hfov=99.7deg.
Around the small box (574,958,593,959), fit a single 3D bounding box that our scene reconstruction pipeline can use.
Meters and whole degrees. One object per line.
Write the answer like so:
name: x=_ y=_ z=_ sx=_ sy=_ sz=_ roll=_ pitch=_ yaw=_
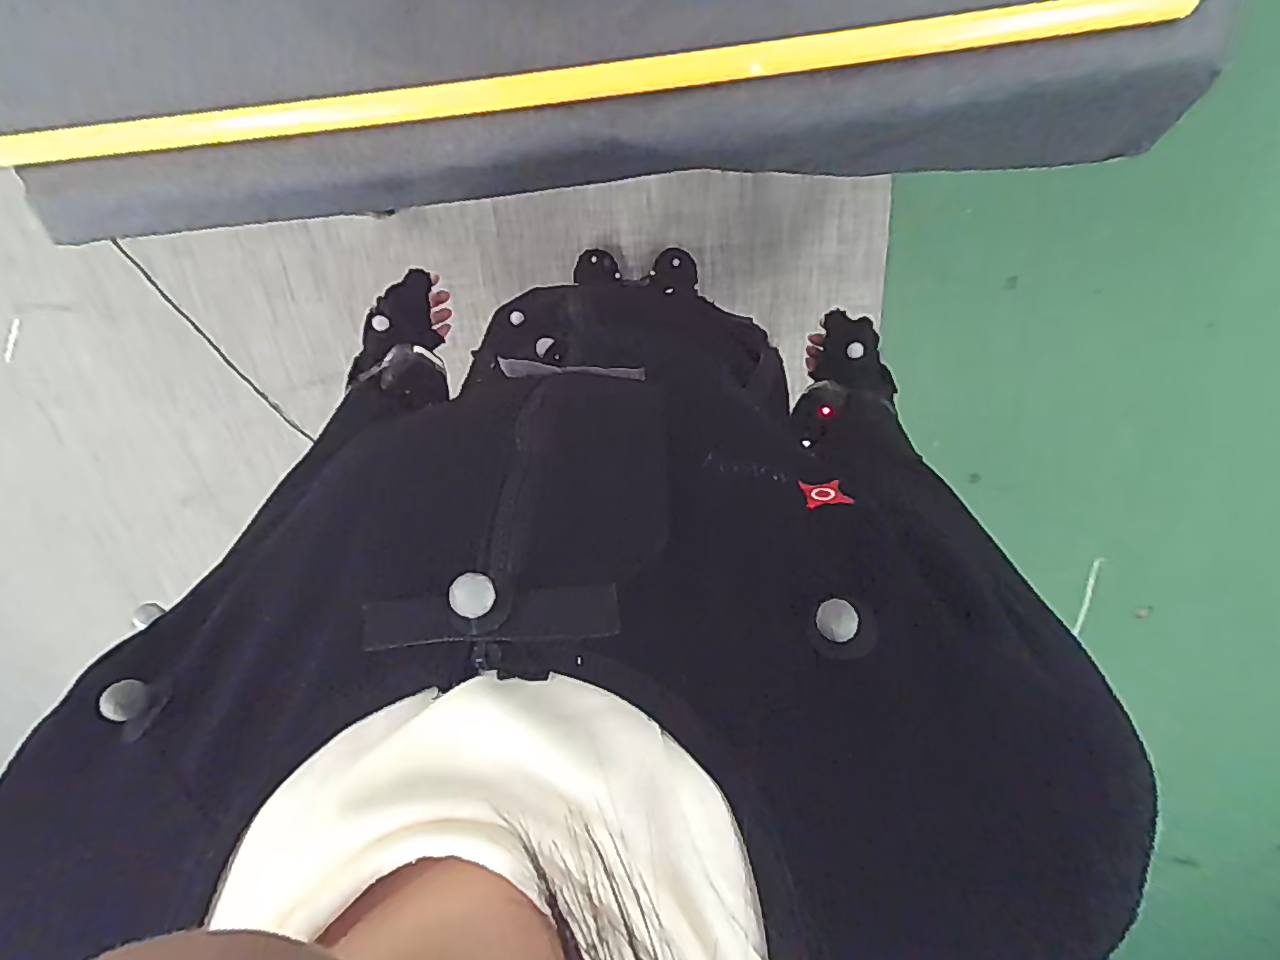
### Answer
small box: x=-0.204 y=1.689 z=1.741 sx=0.168 sy=0.176 sz=0.179 roll=-11 pitch=113 yaw=6
